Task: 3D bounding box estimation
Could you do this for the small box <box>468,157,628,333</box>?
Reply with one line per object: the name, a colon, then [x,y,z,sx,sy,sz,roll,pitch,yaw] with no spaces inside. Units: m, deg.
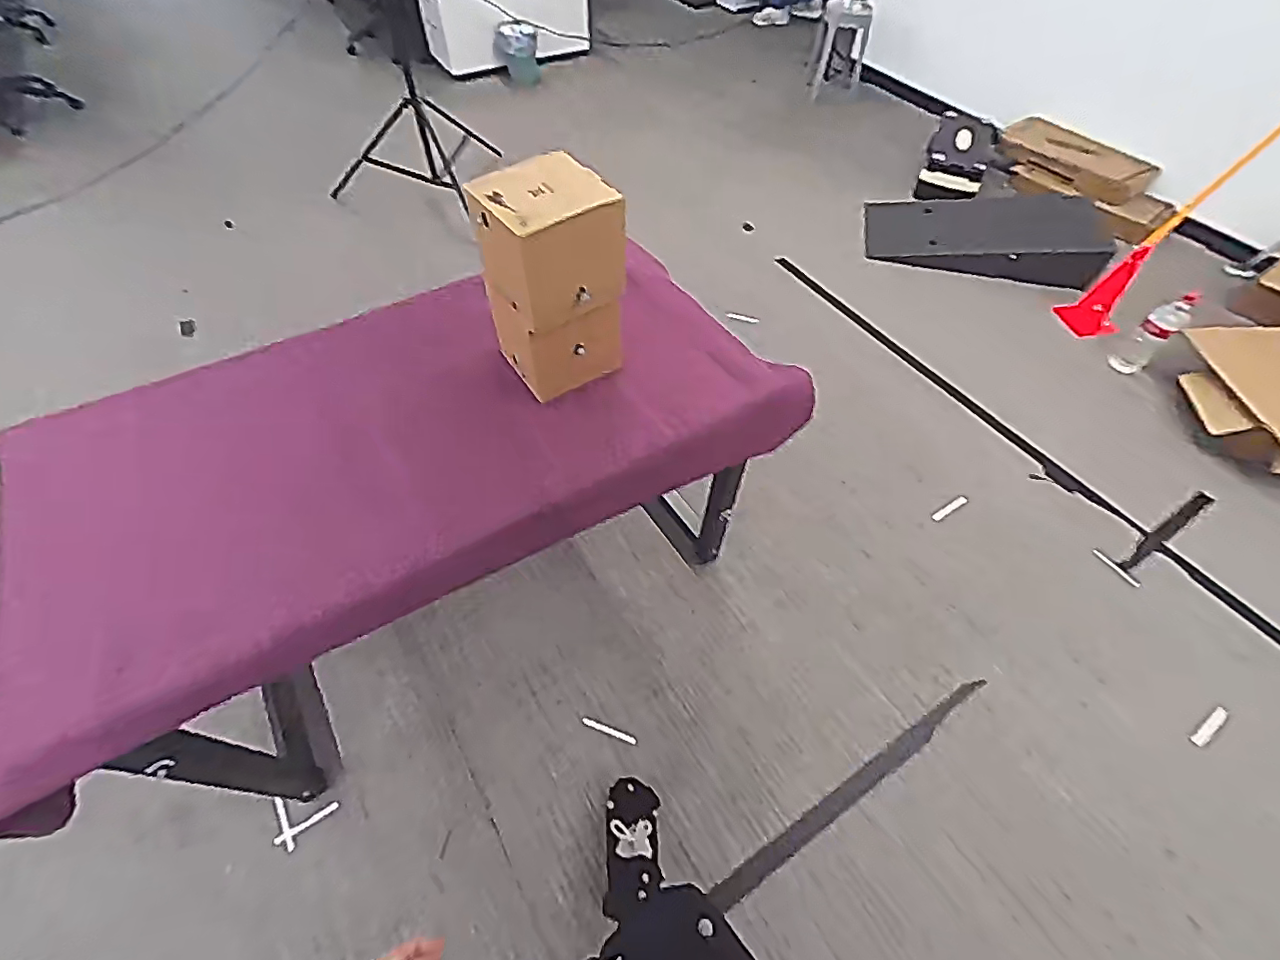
small box: [-0.137,-0.362,0.840,0.179,0.176,0.168,-31,61,-21]
